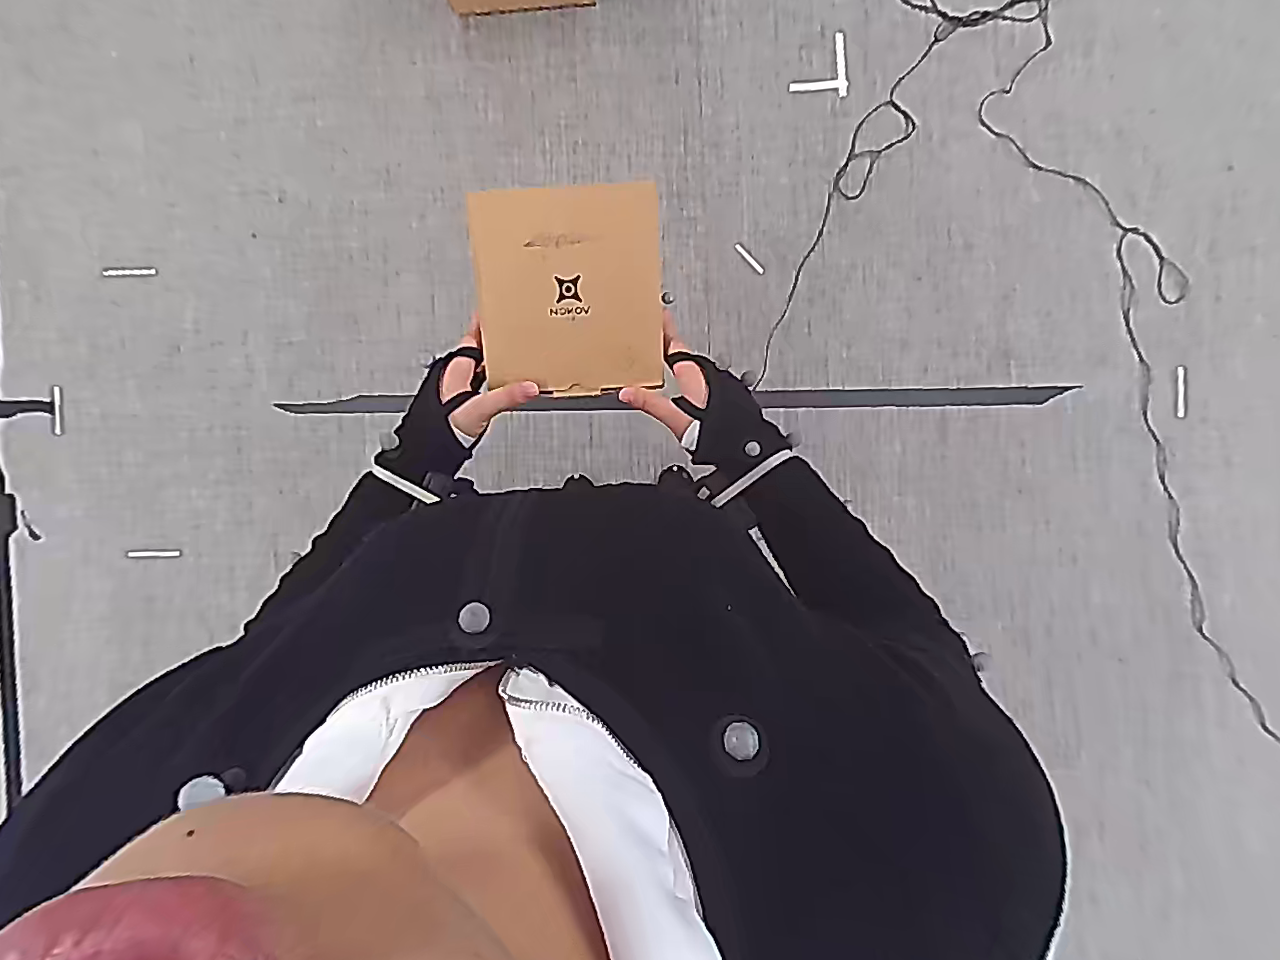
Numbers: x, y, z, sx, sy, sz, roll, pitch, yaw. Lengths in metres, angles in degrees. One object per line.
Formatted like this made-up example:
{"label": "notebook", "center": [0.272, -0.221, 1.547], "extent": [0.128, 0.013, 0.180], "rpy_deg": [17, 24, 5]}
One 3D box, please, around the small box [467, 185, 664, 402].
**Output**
{"label": "small box", "center": [-0.061, -0.178, 0.550], "extent": [0.168, 0.176, 0.179], "rpy_deg": [-3, 103, 0]}
